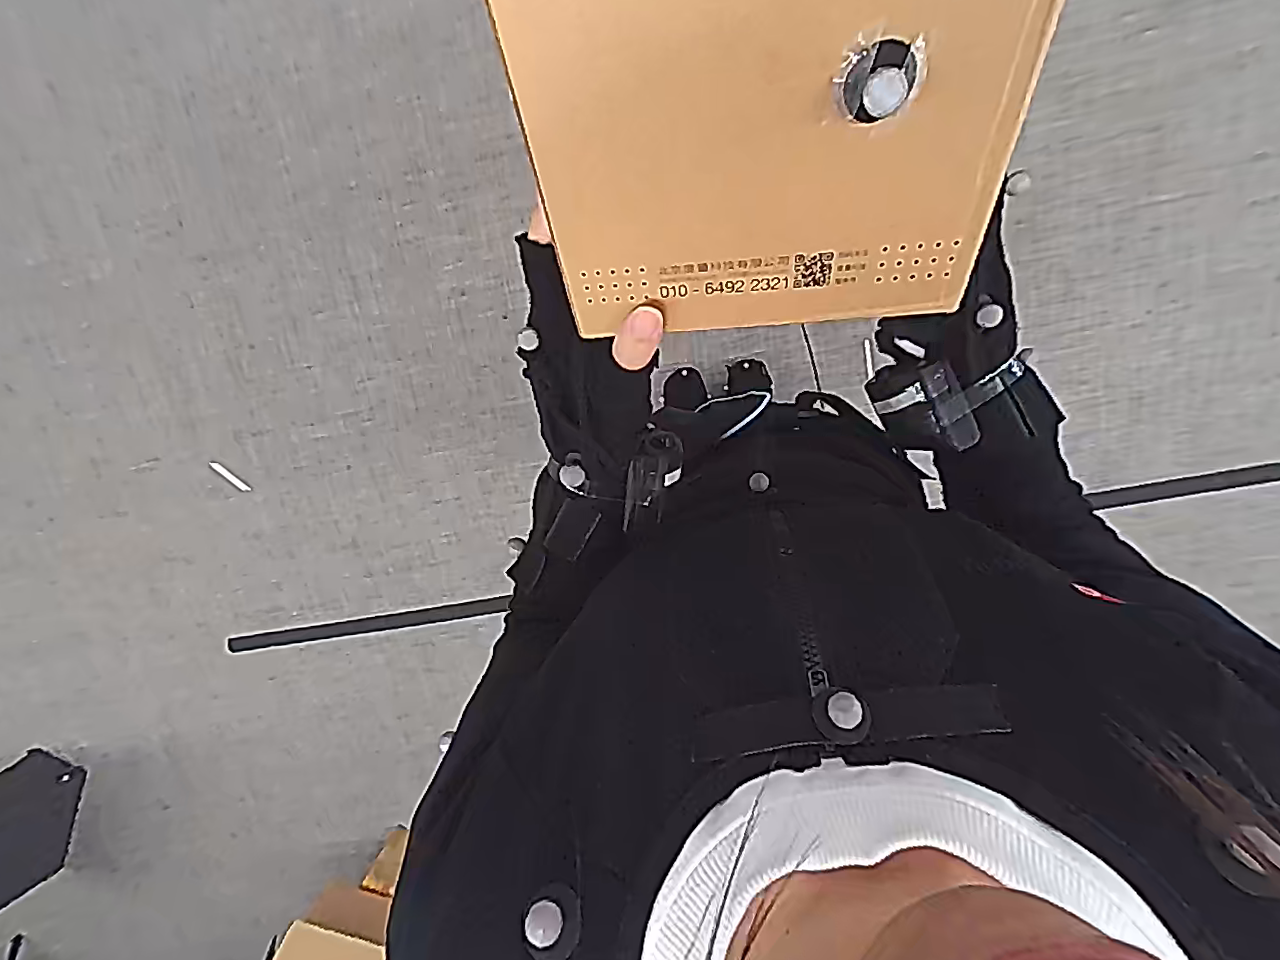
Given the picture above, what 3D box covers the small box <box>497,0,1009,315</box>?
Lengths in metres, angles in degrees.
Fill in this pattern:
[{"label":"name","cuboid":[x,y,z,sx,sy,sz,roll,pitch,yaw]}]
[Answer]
[{"label":"small box","cuboid":[0.051,-0.191,0.250,0.168,0.179,0.176,0,141,10]}]
